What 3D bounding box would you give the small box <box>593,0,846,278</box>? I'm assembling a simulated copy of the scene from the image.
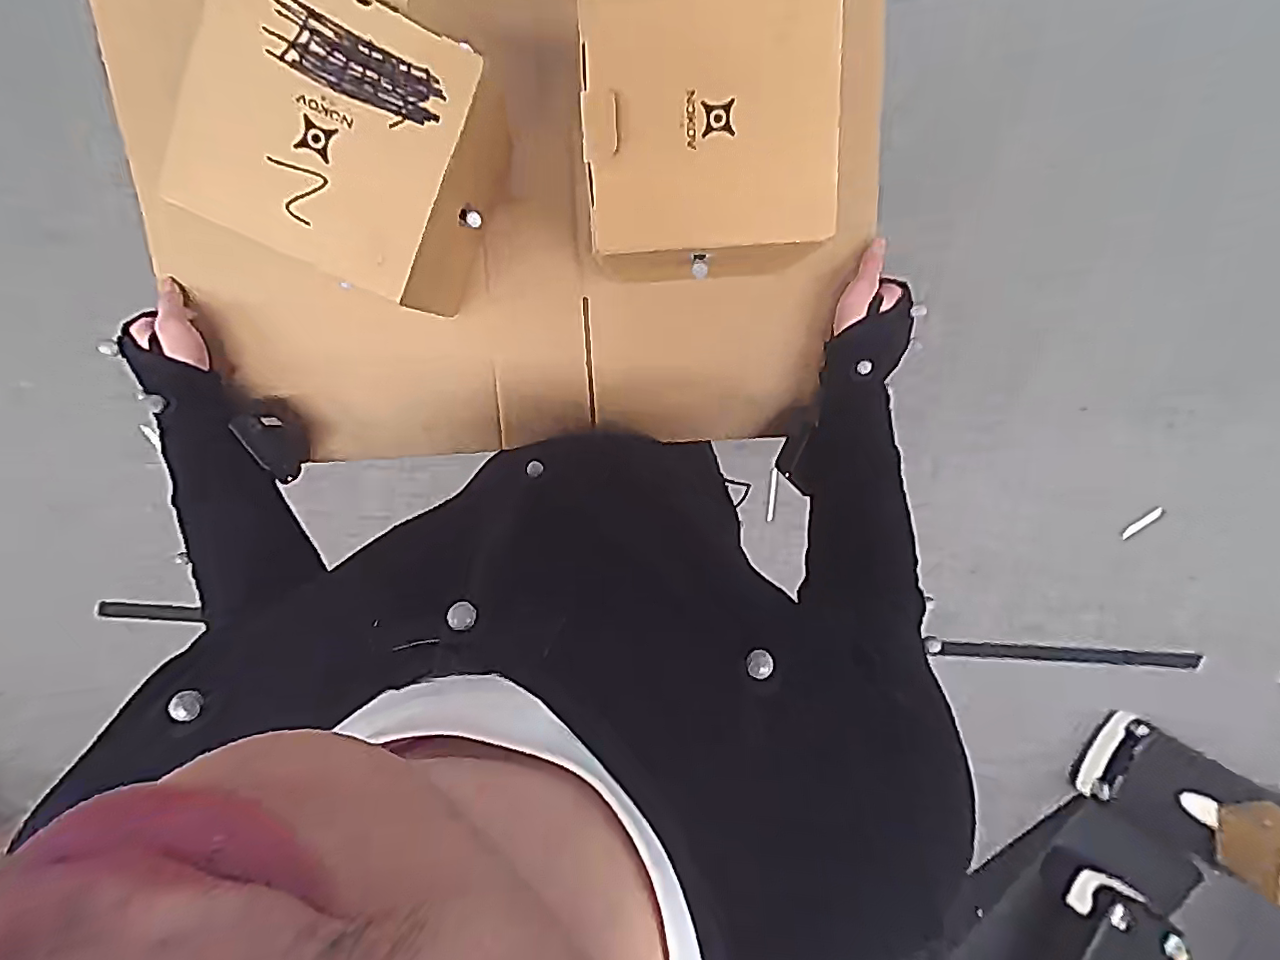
[{"bbox_3d":[0.059,-0.273,0.465,0.179,0.176,0.168,-2,103,4],"label":"small box"}]
